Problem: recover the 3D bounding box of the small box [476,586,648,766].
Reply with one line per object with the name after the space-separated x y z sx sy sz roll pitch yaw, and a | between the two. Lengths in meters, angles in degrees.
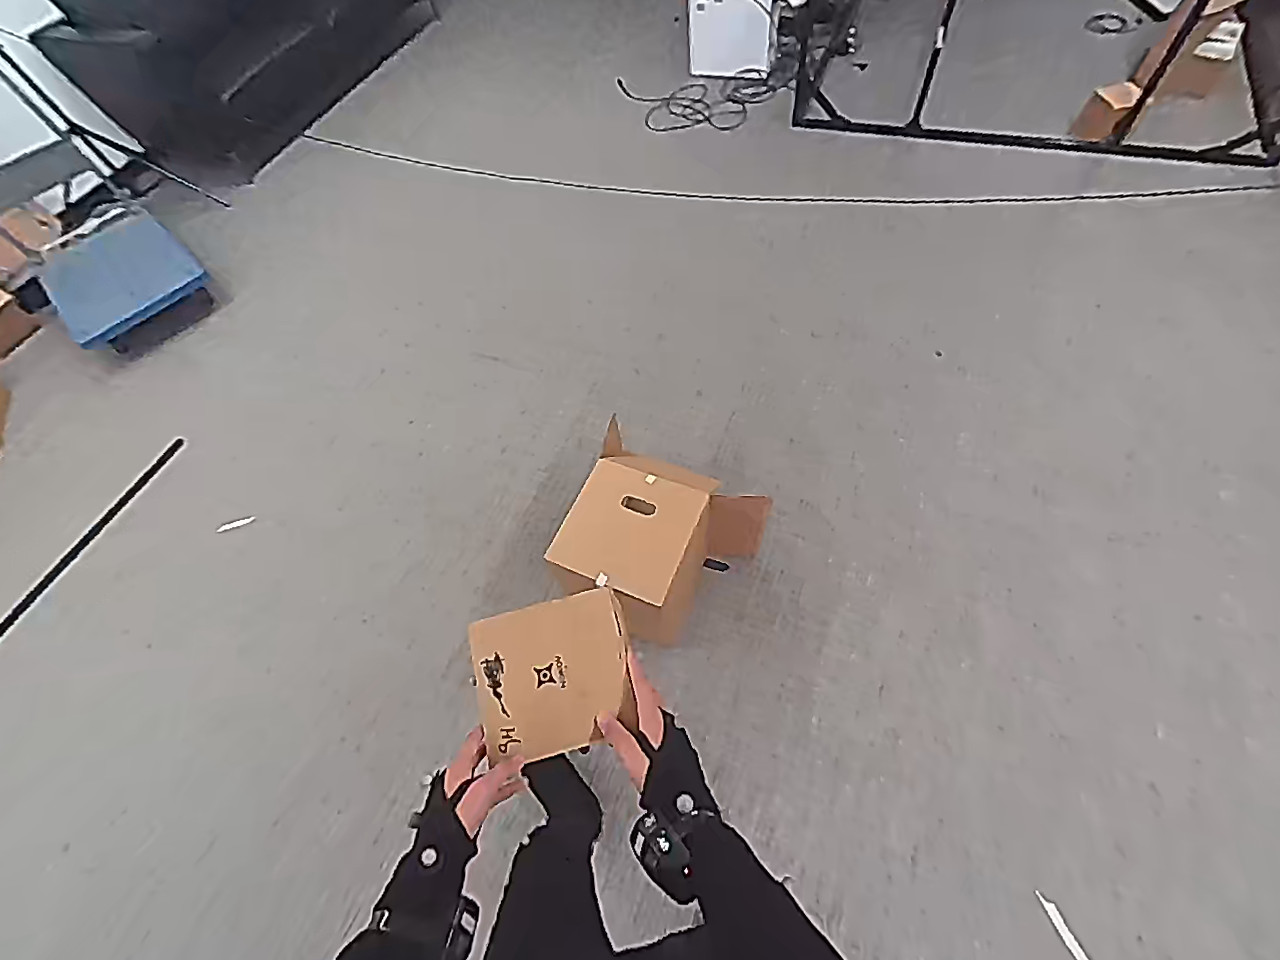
-0.091 0.244 0.691 0.179 0.176 0.168 -13 70 -3 | small box
